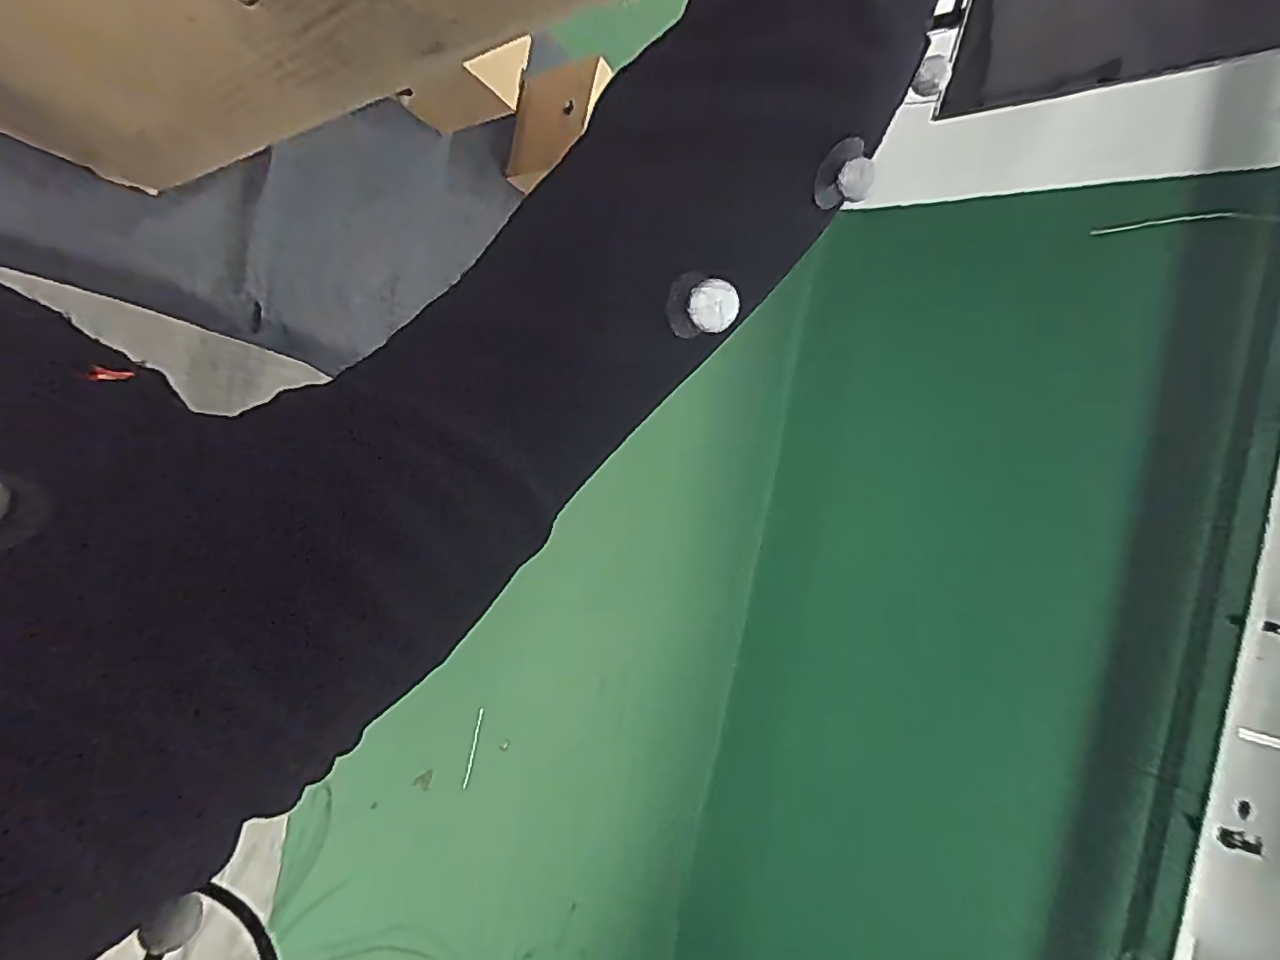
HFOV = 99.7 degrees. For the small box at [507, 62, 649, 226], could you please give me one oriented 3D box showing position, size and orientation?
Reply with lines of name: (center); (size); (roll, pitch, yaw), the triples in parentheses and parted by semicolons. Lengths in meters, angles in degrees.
small box: (-0.111, -0.575, 0.953); (0.168, 0.176, 0.179); (12, 90, -56)
